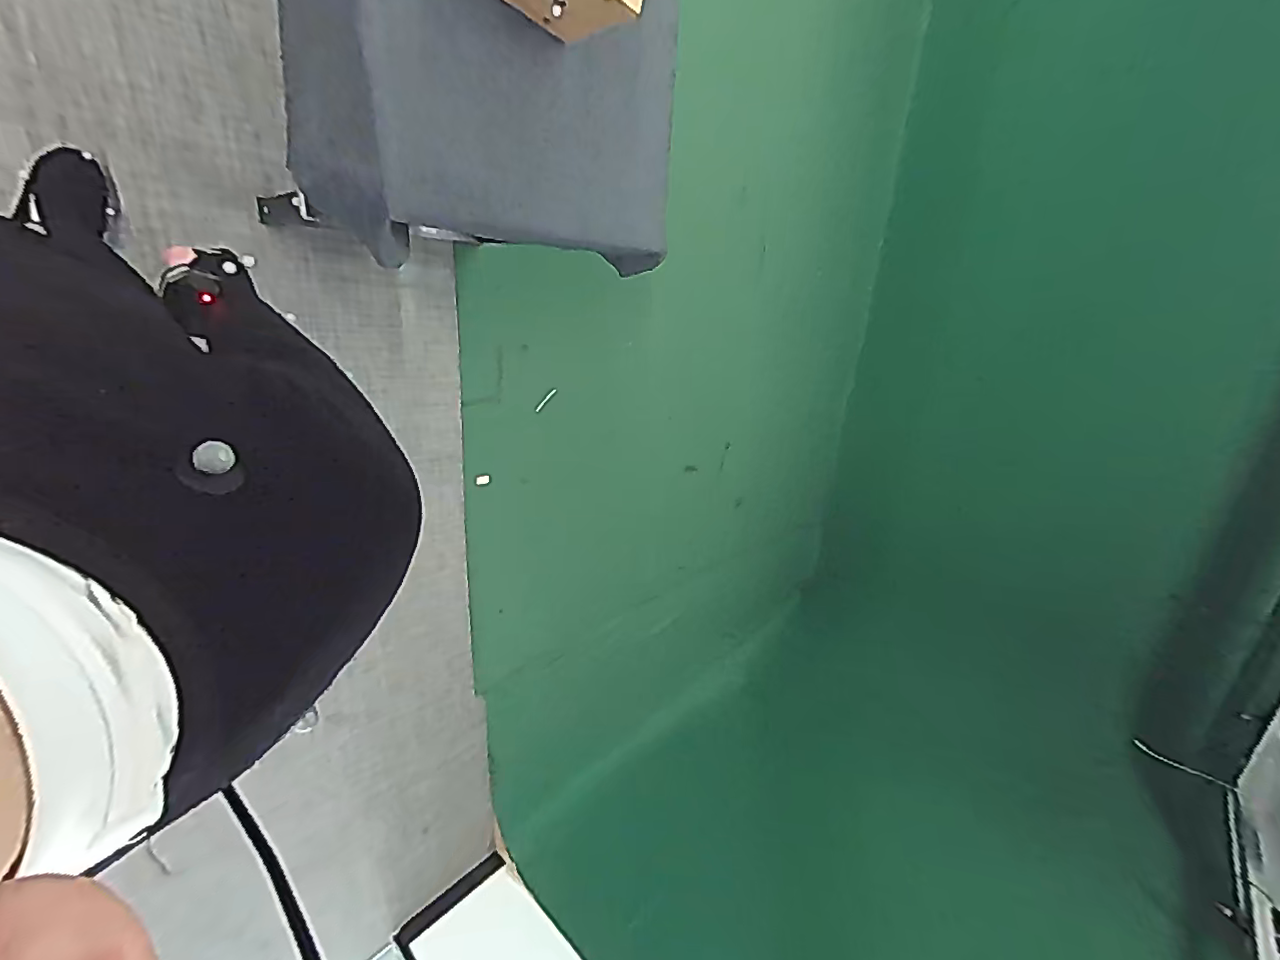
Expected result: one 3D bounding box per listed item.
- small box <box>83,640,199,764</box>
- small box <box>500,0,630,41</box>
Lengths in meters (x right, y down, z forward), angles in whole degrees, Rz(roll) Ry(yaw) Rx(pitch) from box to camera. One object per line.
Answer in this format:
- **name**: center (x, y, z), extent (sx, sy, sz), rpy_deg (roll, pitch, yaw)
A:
- **small box**: center (-1.169, 0.511, 1.269), extent (0.168, 0.176, 0.179), rpy_deg (-15, 118, -48)
- **small box**: center (-0.118, -0.782, 0.779), extent (0.168, 0.176, 0.179), rpy_deg (-5, 111, -49)
